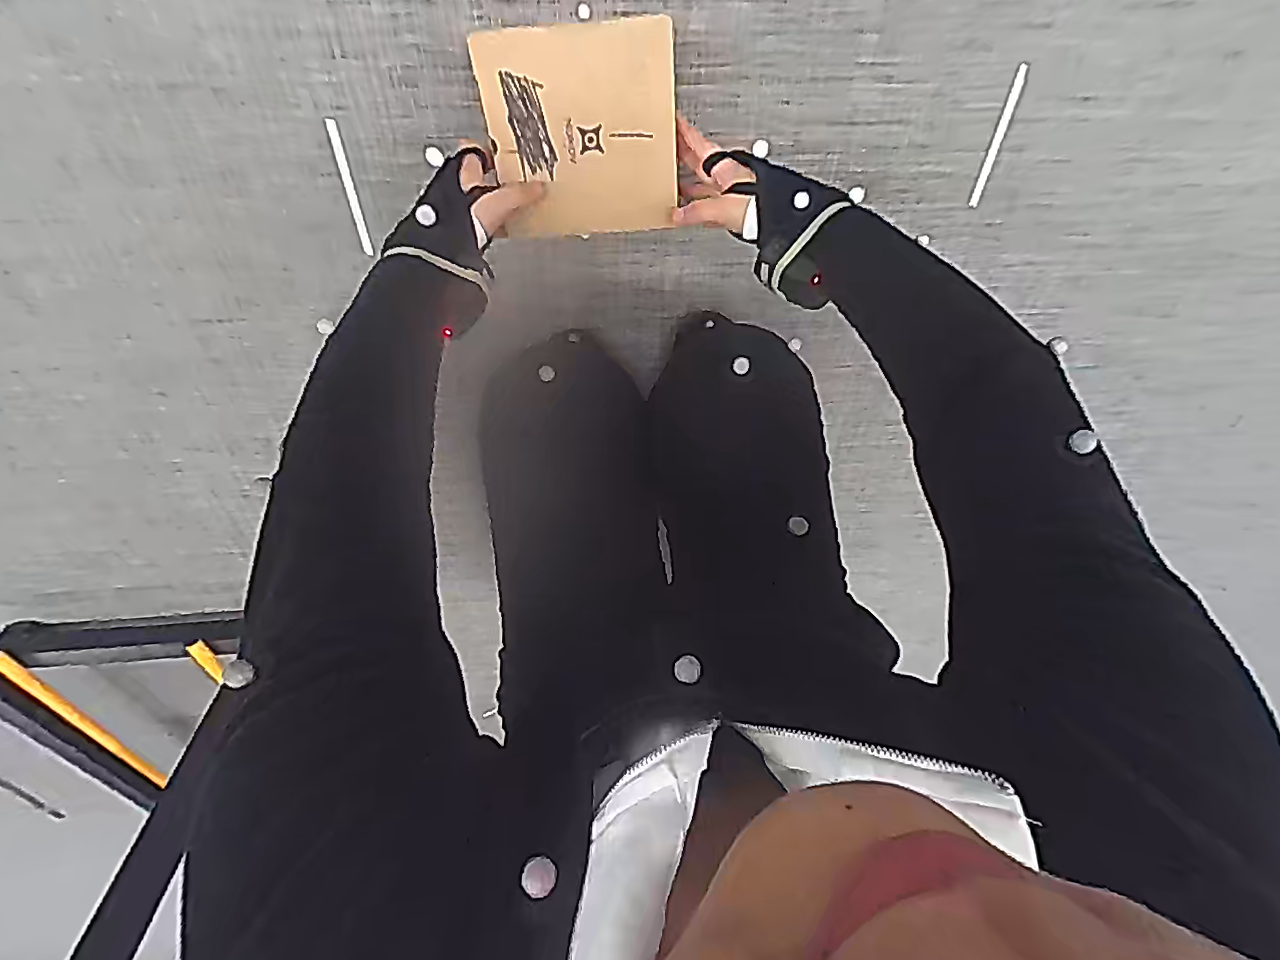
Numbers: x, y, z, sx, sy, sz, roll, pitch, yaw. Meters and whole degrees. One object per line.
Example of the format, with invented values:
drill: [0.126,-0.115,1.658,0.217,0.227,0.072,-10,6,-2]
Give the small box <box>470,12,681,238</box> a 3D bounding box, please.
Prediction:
small box: [-0.049,-0.360,0.553,0.179,0.176,0.168,-3,130,3]
